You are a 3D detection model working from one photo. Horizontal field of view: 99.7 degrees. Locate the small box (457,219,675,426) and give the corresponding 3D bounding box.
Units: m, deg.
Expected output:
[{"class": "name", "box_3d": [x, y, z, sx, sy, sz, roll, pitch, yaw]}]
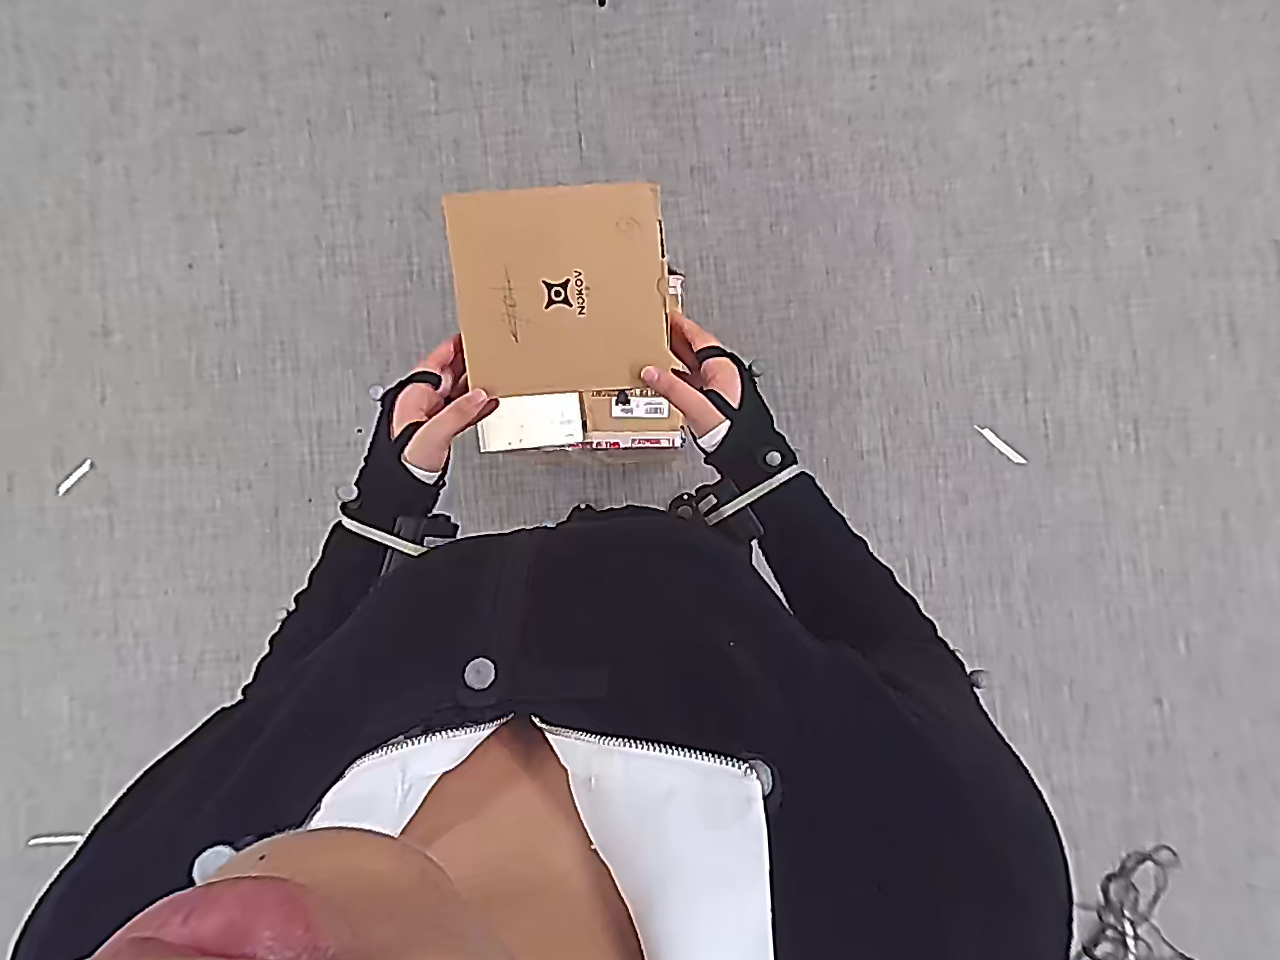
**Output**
[{"class": "small box", "box_3d": [-0.065, -0.148, 0.546, 0.179, 0.176, 0.168, -5, 99, -1]}]
